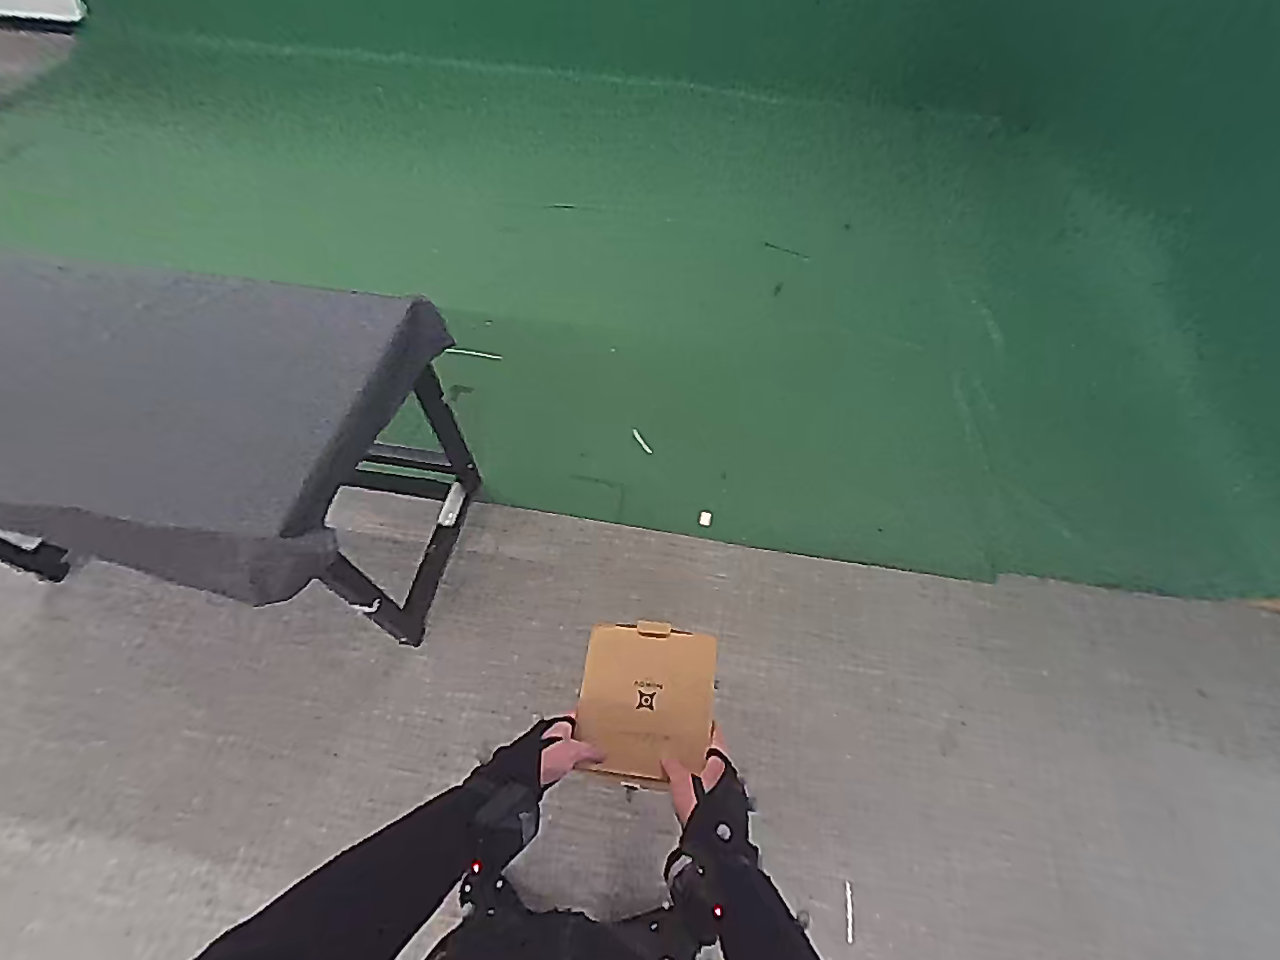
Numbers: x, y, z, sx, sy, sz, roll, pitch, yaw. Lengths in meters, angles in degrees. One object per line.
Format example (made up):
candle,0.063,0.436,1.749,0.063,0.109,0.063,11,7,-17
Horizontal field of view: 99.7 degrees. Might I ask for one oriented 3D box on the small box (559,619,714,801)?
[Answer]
small box,0.003,0.306,0.714,0.168,0.176,0.179,6,56,7
